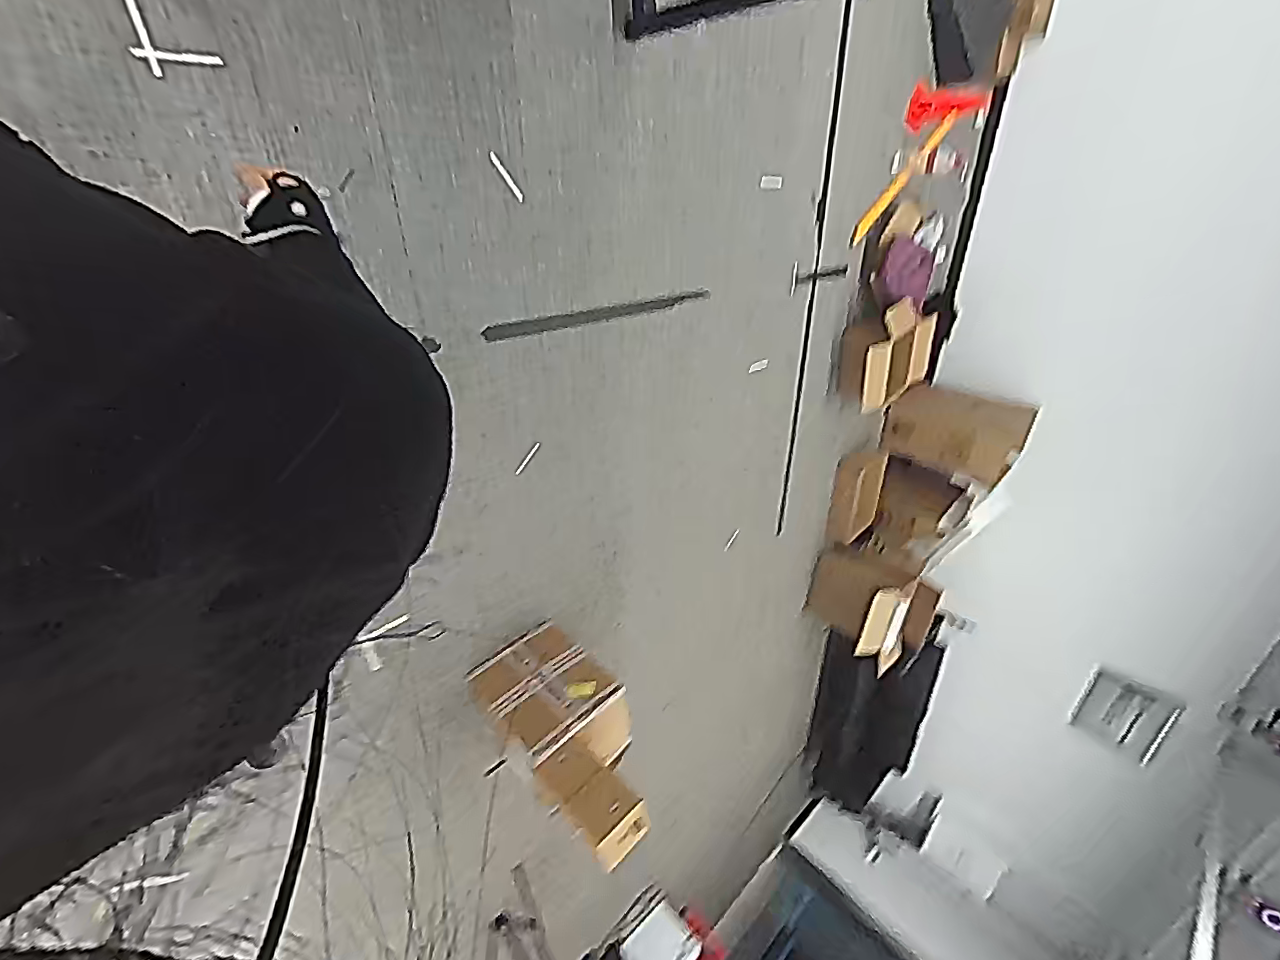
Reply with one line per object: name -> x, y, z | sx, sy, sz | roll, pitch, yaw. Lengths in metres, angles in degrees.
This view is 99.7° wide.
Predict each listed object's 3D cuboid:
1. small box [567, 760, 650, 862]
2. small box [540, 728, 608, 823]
small box -> -0.098, 1.012, 1.668 | 0.179, 0.176, 0.168 | -33, 127, -31
small box -> -0.210, 0.968, 1.782 | 0.179, 0.176, 0.168 | -33, 128, -31
